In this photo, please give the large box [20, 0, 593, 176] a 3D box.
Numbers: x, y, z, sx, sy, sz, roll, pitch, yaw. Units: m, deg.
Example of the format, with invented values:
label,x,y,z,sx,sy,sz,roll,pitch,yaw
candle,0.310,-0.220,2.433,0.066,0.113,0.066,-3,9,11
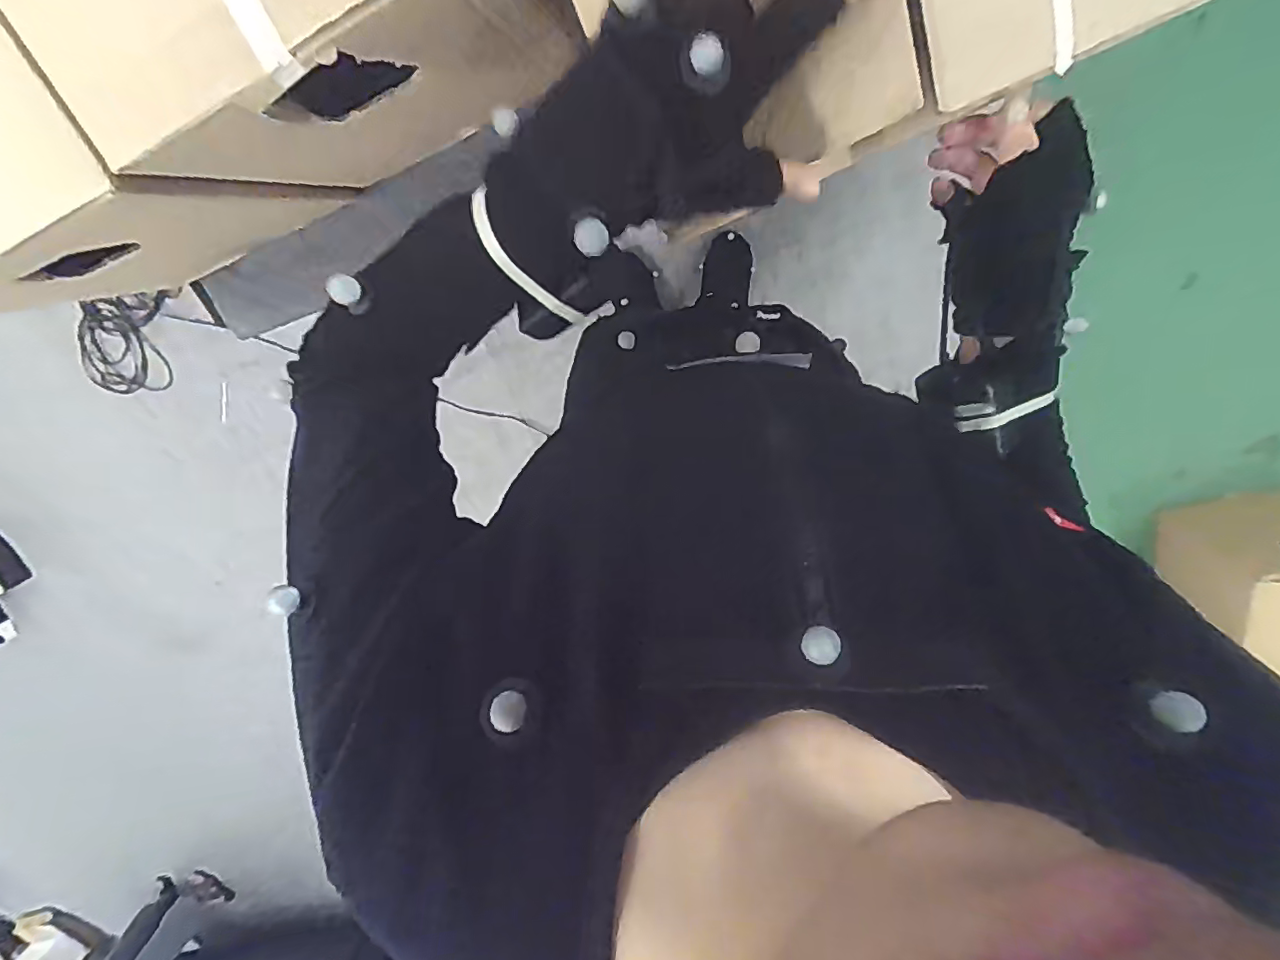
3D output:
label,x,y,z,sx,sy,sz,roll,pitch,yaw
large box,-0.271,-0.498,0.391,0.320,0.320,0.408,-17,114,16
